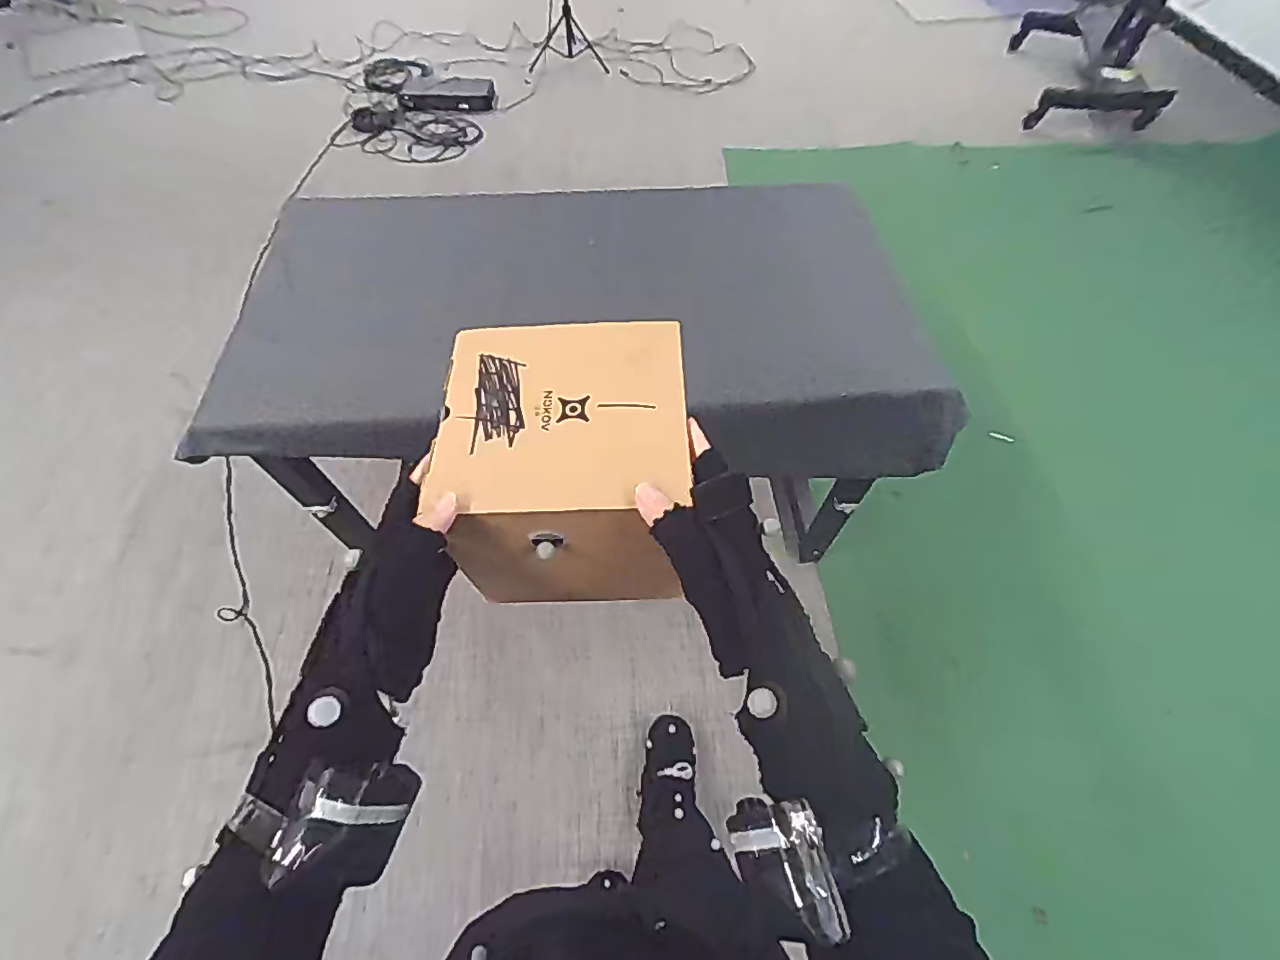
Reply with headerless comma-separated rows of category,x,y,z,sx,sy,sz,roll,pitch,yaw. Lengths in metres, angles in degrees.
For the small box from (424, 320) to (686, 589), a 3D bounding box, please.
small box,-0.053,-0.013,0.459,0.179,0.176,0.168,-2,58,1
